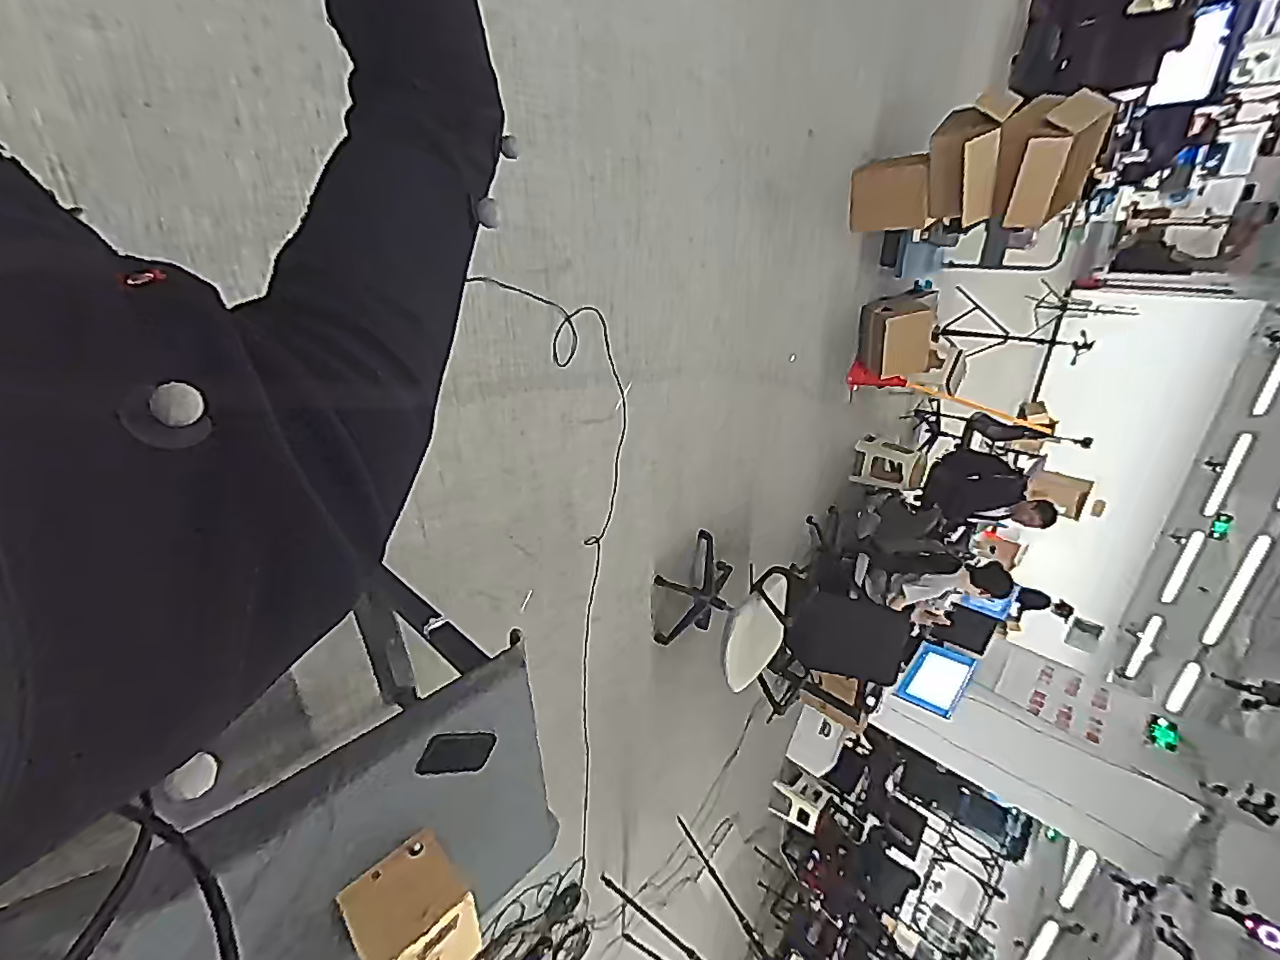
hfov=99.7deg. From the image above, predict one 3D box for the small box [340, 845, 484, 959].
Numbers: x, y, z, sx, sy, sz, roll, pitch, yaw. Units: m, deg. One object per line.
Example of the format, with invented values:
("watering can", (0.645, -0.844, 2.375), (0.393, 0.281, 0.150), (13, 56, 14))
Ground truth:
("small box", (-0.400, 0.794, 0.951), (0.168, 0.176, 0.179), (-23, 124, -42))
